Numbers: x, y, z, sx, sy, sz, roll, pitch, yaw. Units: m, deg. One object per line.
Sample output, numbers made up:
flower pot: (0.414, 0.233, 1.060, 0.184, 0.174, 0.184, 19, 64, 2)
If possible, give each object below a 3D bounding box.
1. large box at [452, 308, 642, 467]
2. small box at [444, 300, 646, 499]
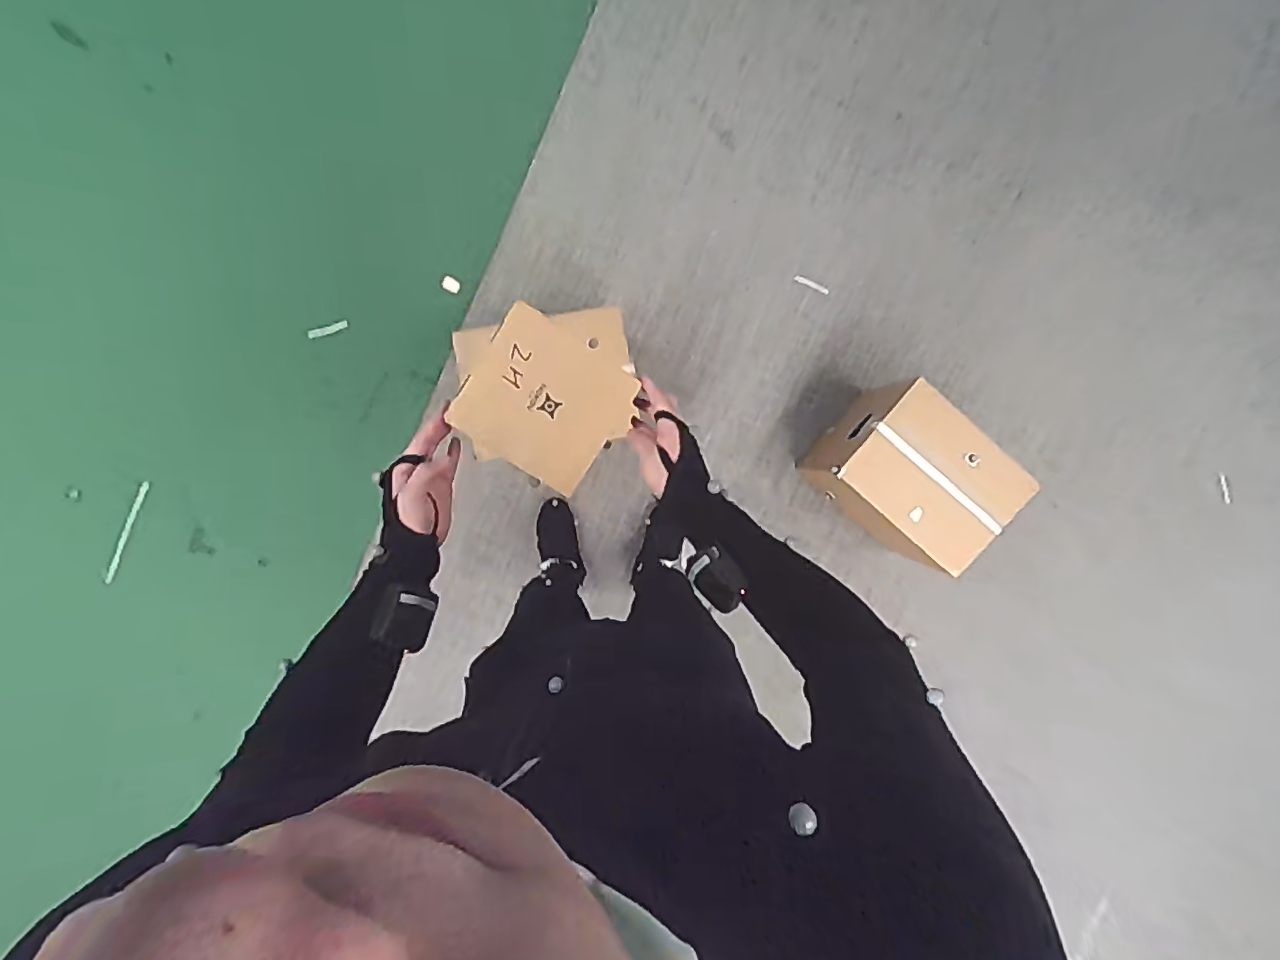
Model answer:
large box: (-0.219, -0.224, 1.419, 0.408, 0.320, 0.320, -10, 92, 0)
small box: (-0.116, -0.101, 0.698, 0.179, 0.176, 0.168, 34, 92, -10)
